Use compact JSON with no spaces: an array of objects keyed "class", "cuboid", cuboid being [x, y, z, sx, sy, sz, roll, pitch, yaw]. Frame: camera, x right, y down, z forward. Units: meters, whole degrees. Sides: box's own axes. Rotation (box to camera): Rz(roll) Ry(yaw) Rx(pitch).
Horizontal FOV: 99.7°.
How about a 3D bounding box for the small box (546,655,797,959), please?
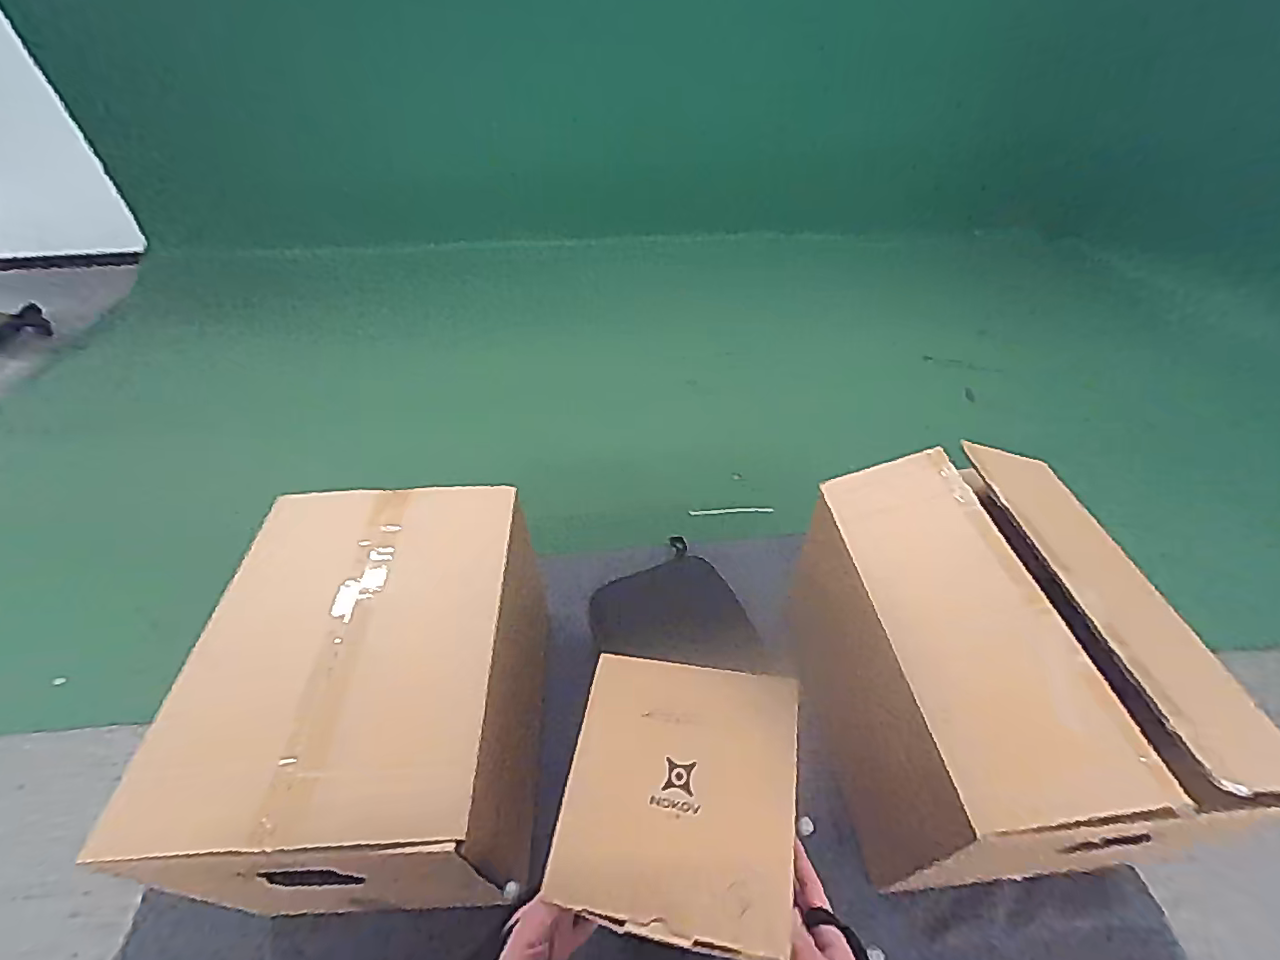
[{"class":"small box","cuboid":[0.042,0.274,0.458,0.168,0.176,0.179,4,50,13]}]
